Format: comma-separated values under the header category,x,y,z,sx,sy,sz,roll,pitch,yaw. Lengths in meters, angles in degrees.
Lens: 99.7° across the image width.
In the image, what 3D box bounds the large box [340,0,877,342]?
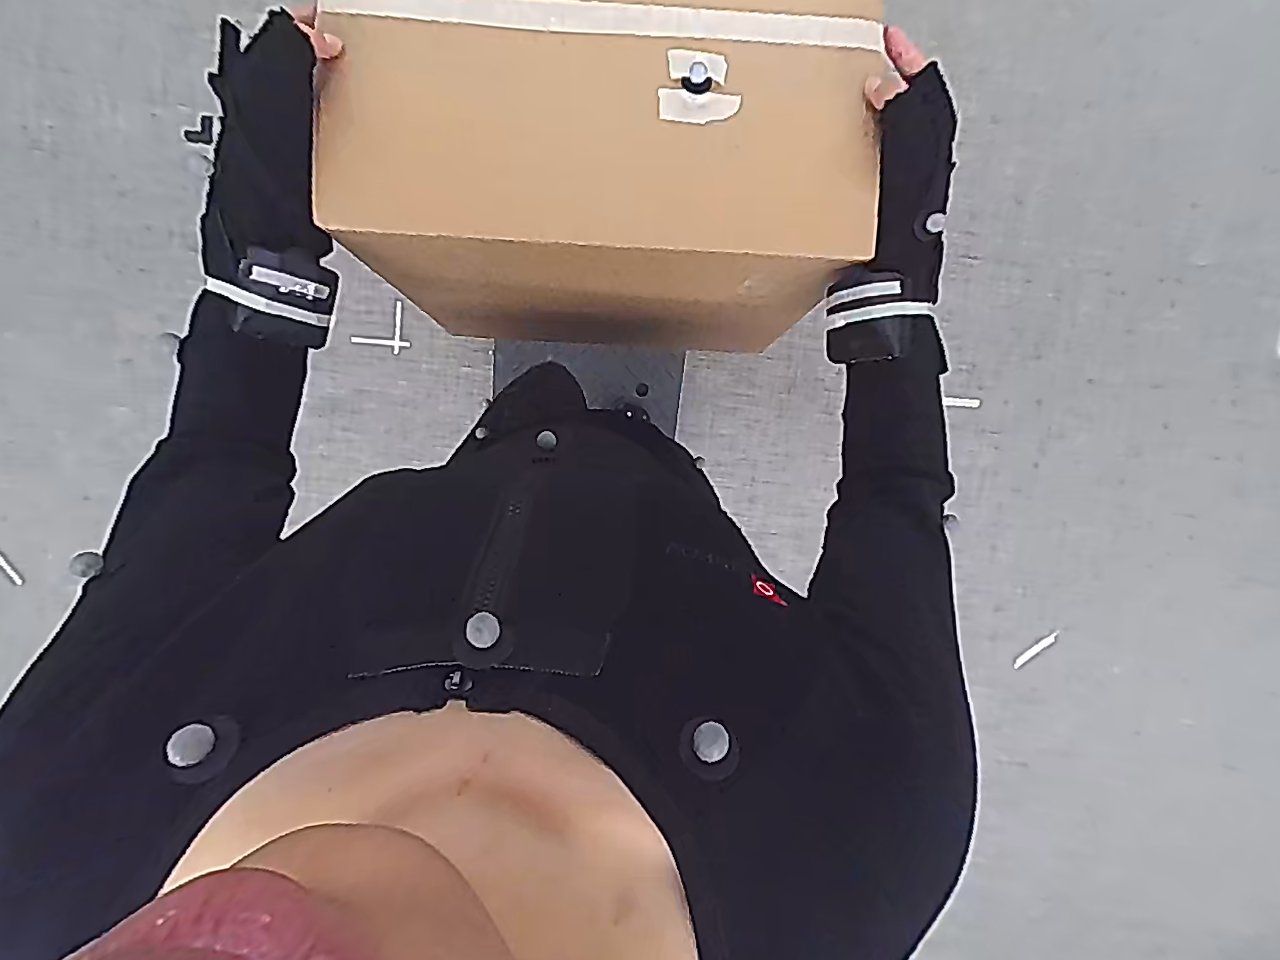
category,x,y,z,sx,sy,sz,roll,pitch,yaw
large box,-0.027,-0.335,0.553,0.408,0.320,0.320,2,91,-2
